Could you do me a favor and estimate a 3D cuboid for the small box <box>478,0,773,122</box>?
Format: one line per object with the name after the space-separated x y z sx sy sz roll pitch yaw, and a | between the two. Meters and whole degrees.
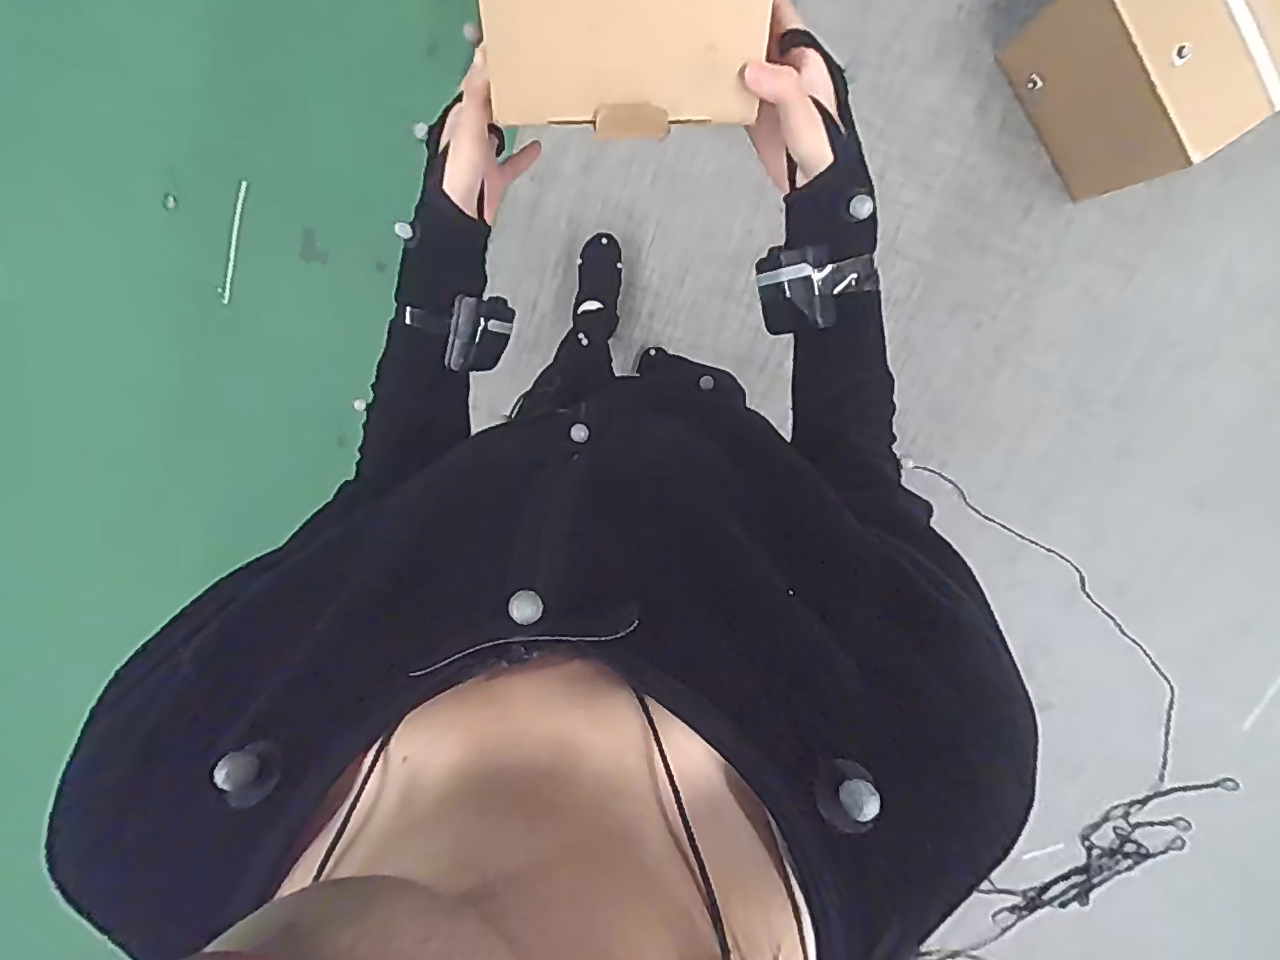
-0.017 -0.338 0.337 0.168 0.176 0.179 -5 128 -9 | small box
